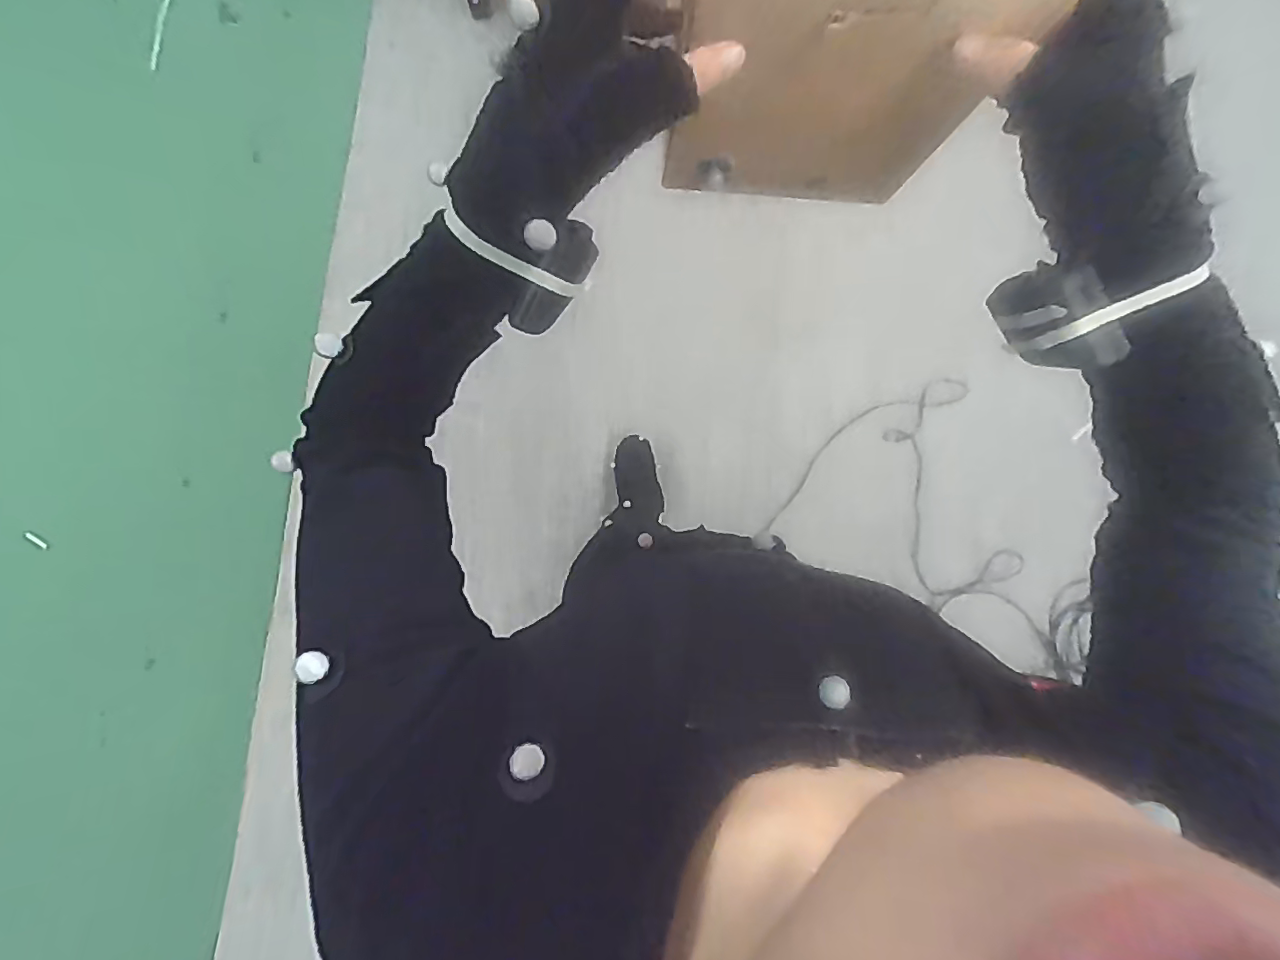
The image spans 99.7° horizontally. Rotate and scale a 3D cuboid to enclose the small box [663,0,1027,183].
[{"bbox_3d":[0.105,-0.303,0.312,0.168,0.176,0.179,2,86,-4],"label":"small box"}]
